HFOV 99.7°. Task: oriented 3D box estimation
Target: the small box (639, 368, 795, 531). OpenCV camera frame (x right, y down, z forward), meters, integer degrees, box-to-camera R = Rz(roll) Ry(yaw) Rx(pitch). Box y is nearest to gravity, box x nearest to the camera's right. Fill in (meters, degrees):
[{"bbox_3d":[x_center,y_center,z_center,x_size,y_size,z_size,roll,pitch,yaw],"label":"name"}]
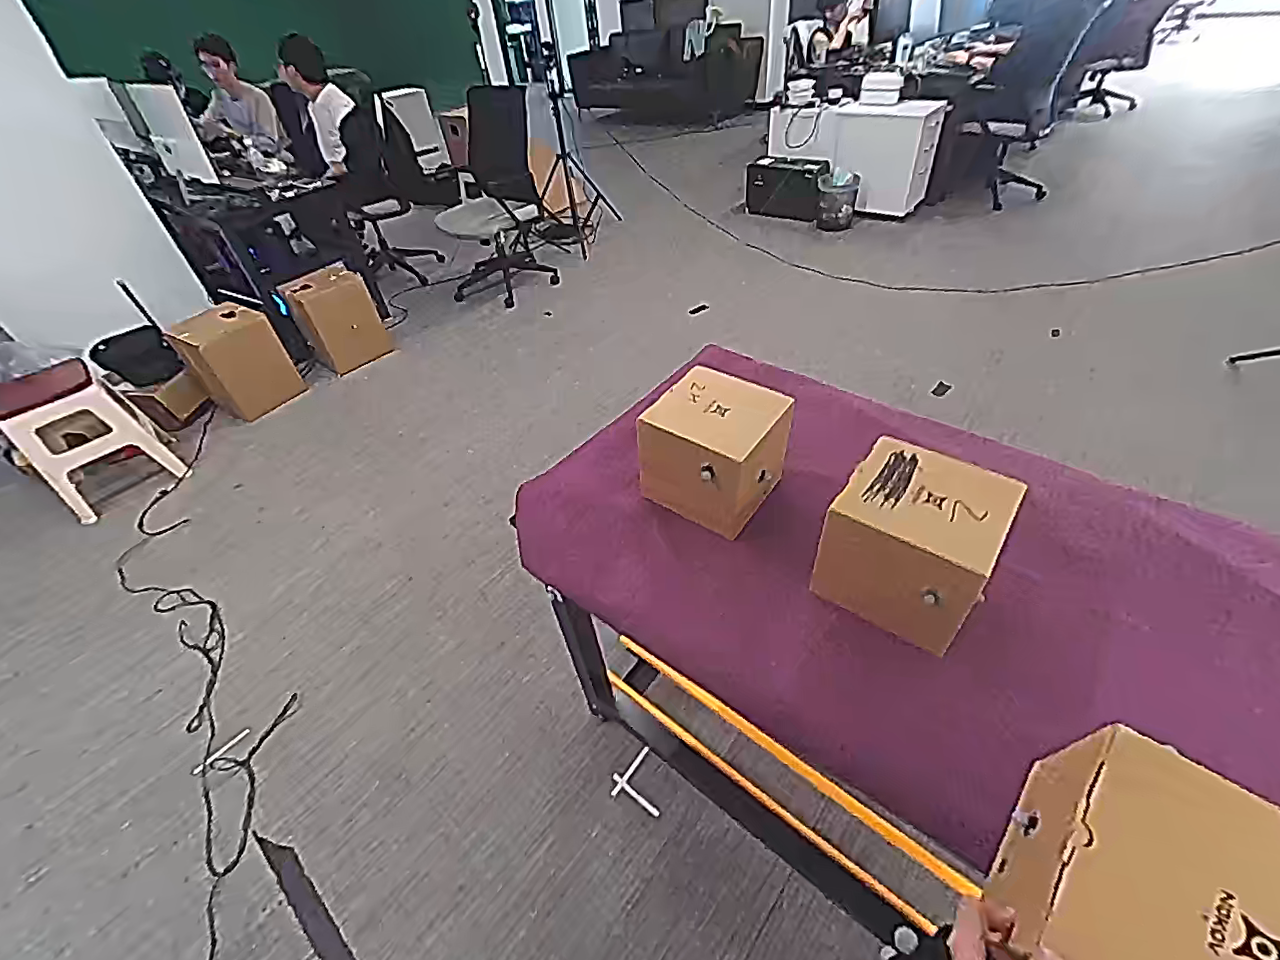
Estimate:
[{"bbox_3d":[0.118,-0.045,0.853,0.179,0.176,0.168,26,52,27],"label":"small box"}]
